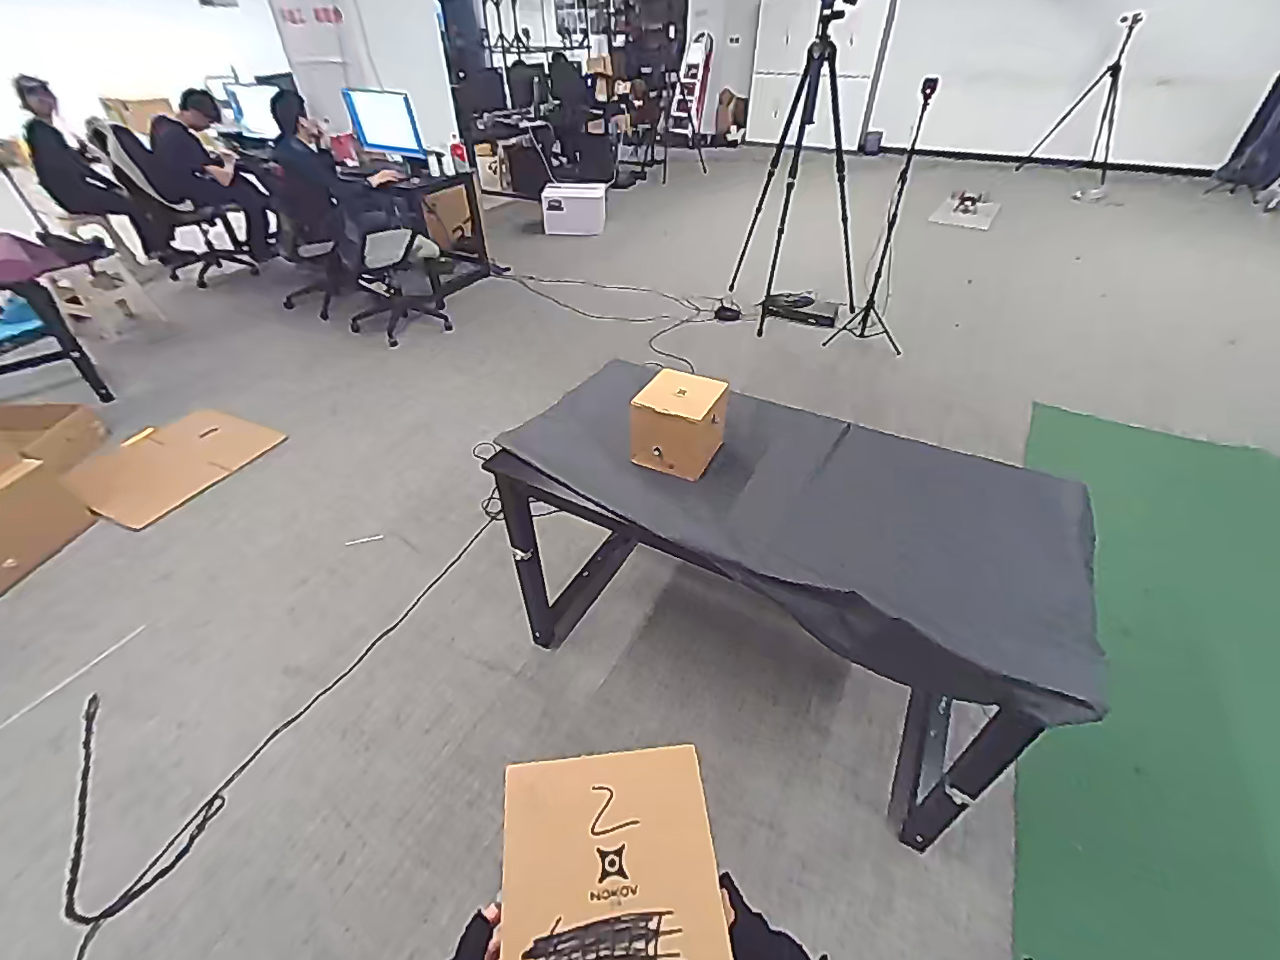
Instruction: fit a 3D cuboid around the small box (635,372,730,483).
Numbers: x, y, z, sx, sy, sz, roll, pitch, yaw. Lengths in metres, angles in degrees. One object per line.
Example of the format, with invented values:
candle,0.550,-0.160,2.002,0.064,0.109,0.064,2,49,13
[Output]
small box,0.094,-0.123,1.262,0.168,0.176,0.179,19,44,20
